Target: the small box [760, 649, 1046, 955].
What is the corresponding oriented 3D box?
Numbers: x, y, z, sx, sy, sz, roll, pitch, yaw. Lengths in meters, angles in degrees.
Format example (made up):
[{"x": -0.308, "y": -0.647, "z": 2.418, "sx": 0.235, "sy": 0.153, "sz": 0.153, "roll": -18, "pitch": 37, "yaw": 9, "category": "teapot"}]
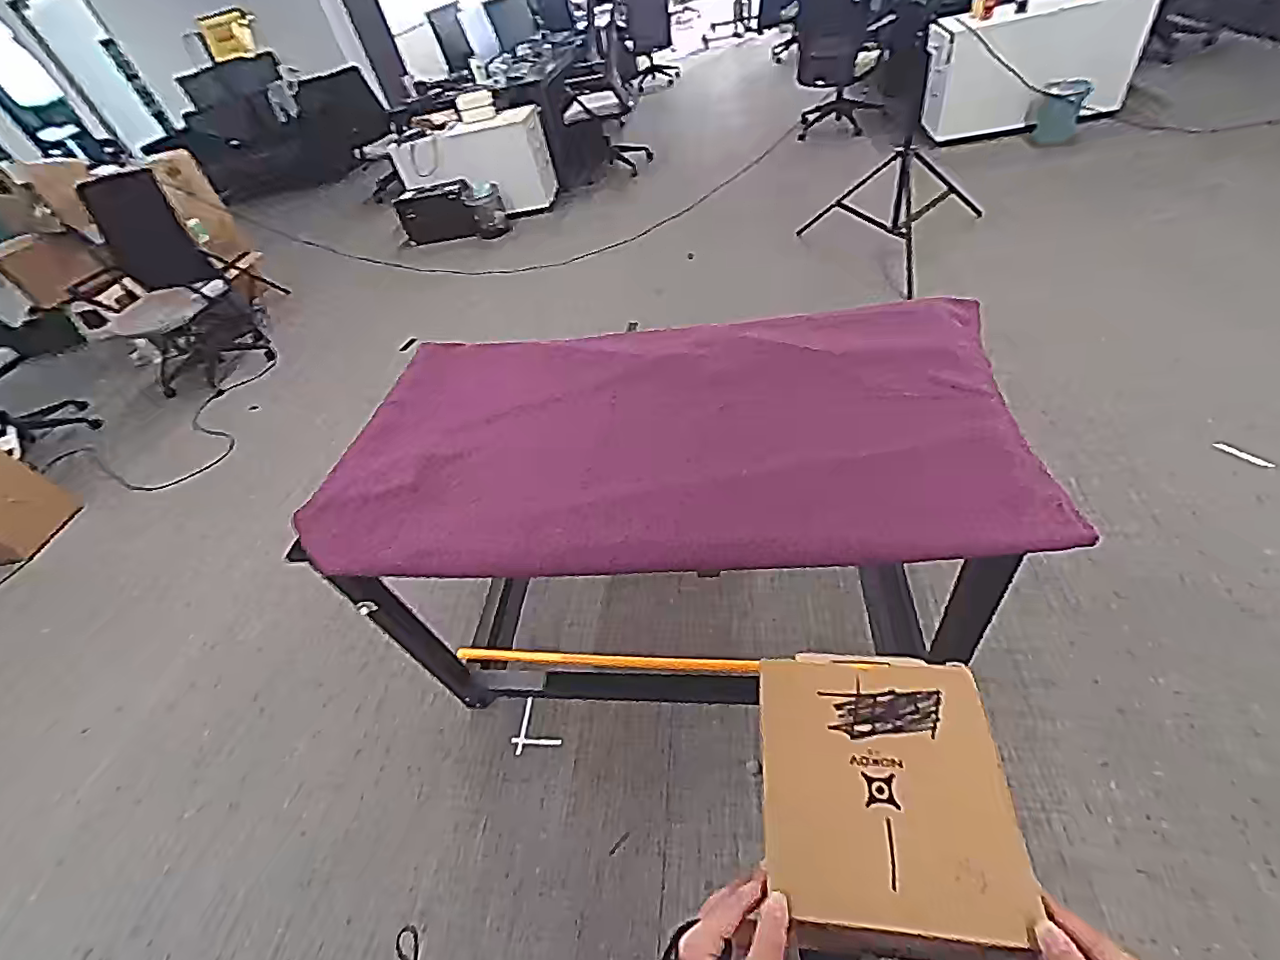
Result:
[{"x": 0.185, "y": 0.263, "z": 0.450, "sx": 0.168, "sy": 0.176, "sz": 0.179, "roll": -2, "pitch": 46, "yaw": 12, "category": "small box"}]
